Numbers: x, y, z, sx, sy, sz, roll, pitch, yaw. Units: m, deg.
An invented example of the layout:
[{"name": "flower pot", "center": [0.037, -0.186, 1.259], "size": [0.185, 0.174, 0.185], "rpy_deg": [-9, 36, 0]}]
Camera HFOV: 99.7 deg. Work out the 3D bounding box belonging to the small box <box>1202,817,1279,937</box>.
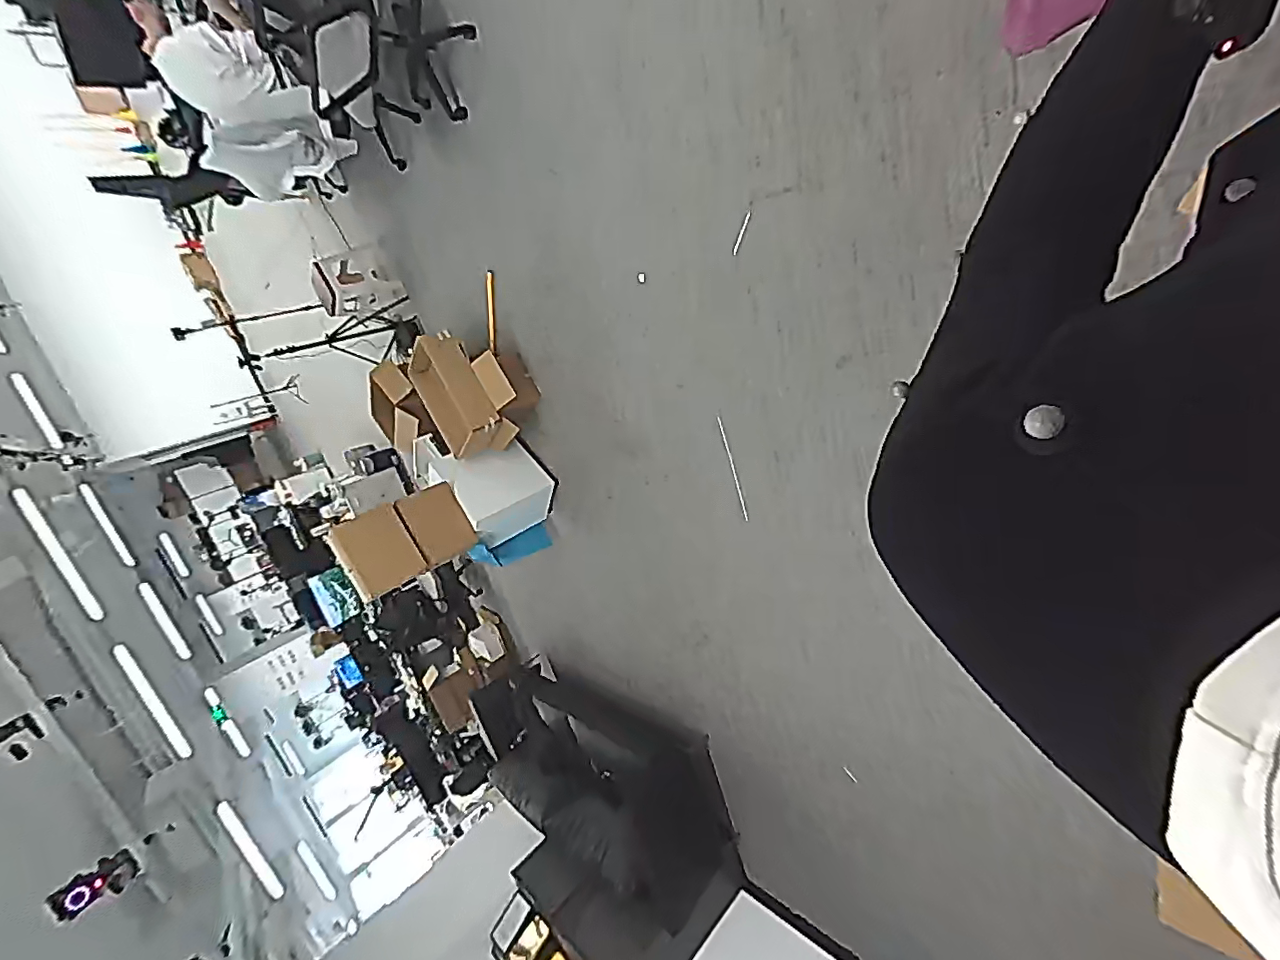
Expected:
[{"name": "small box", "center": [1.584, 1.021, 1.396], "size": [0.179, 0.176, 0.168], "rpy_deg": [3, 114, 49]}]
